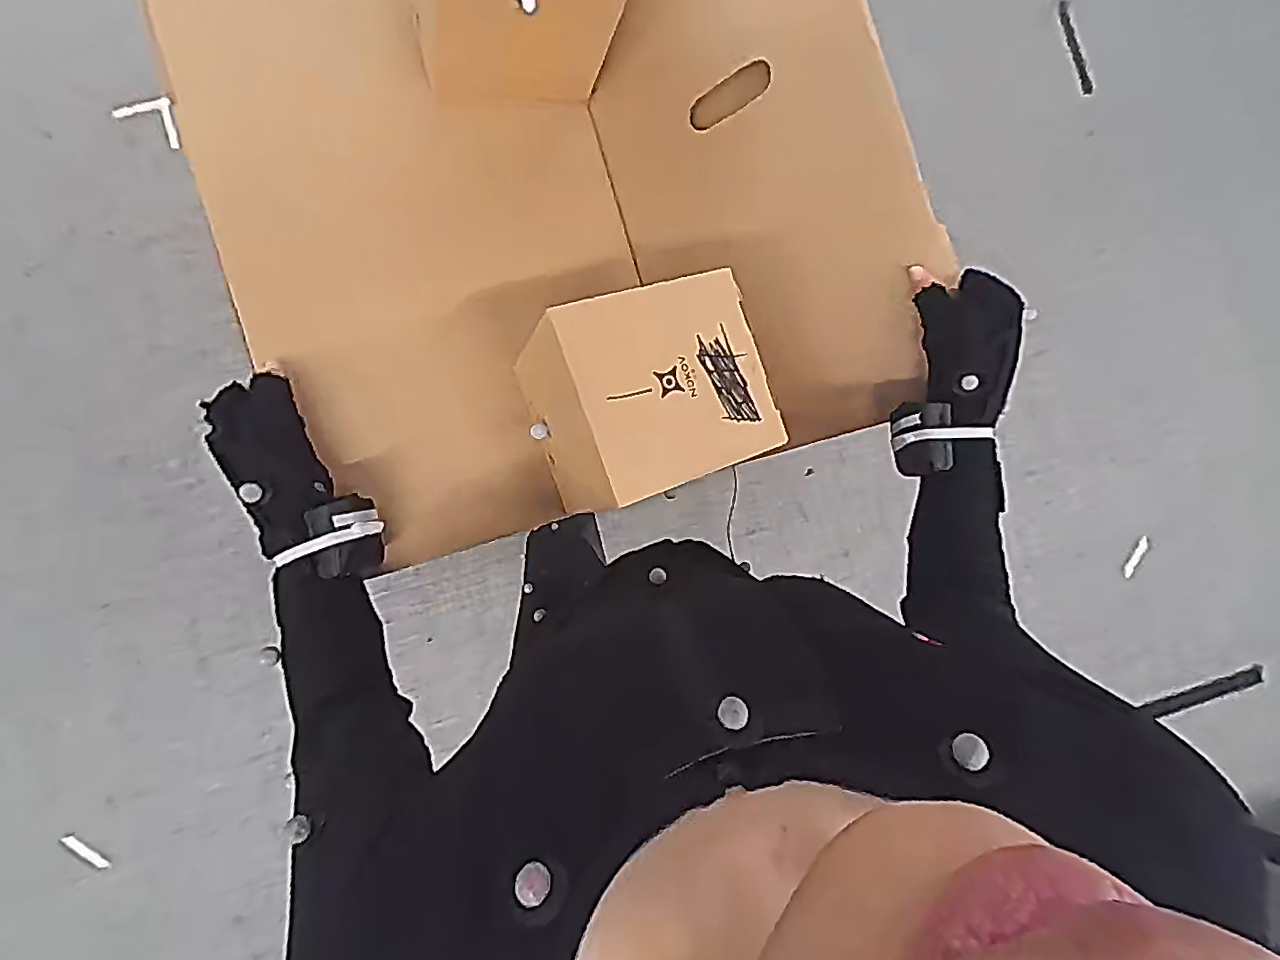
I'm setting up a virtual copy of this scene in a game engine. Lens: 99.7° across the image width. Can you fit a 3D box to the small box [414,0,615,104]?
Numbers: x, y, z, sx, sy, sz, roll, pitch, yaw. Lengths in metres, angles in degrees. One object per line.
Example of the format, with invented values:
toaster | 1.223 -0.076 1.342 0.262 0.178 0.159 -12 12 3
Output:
small box | -0.129 -0.504 0.524 0.179 0.176 0.168 -13 89 -24
